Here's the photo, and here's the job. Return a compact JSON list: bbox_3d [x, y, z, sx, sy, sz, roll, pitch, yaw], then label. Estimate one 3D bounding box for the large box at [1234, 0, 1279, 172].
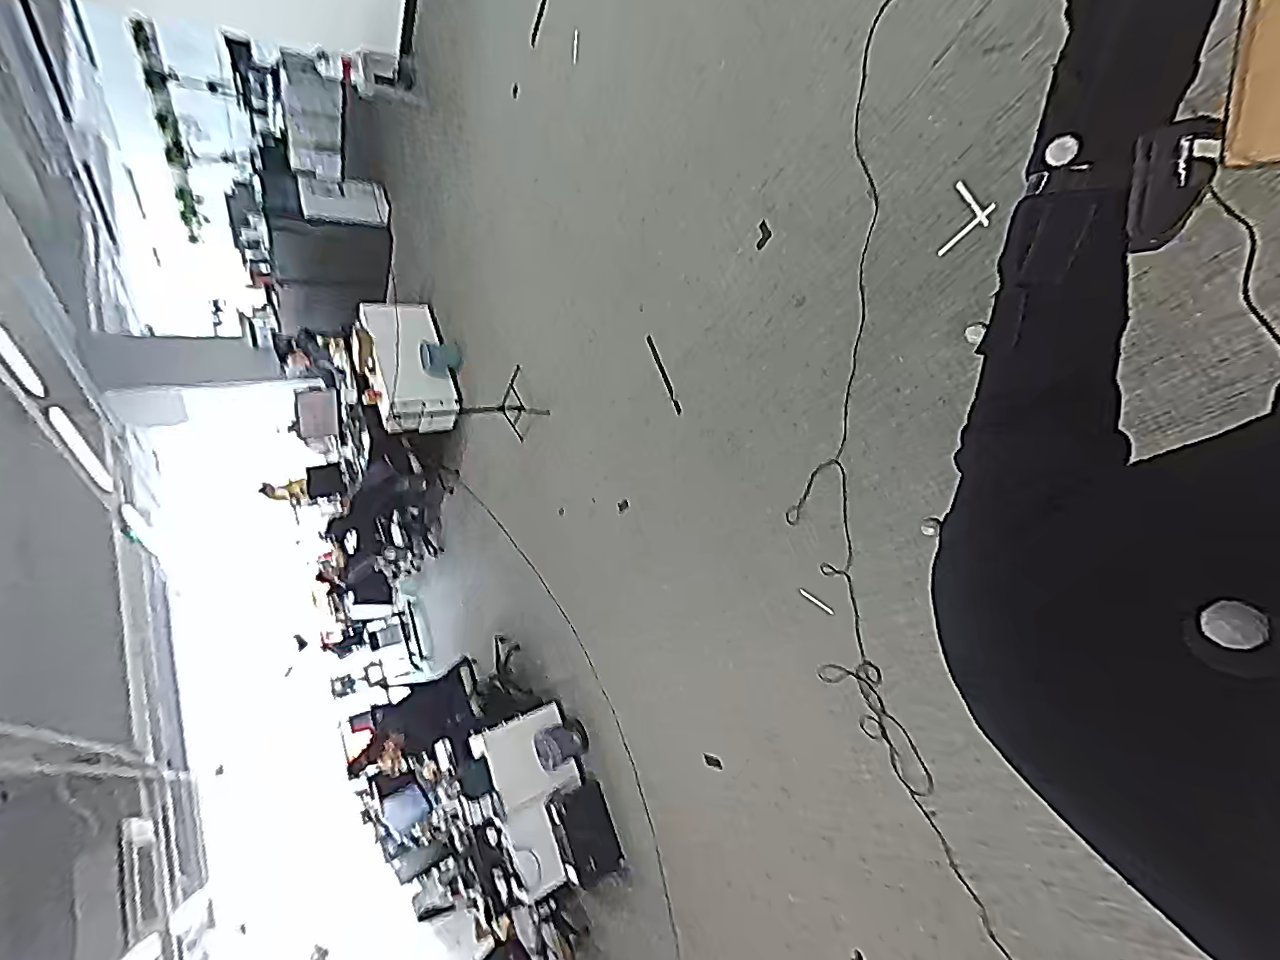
[{"bbox_3d":[0.544,-0.338,0.192,0.408,0.320,0.320,13,119,52],"label":"large box"}]
